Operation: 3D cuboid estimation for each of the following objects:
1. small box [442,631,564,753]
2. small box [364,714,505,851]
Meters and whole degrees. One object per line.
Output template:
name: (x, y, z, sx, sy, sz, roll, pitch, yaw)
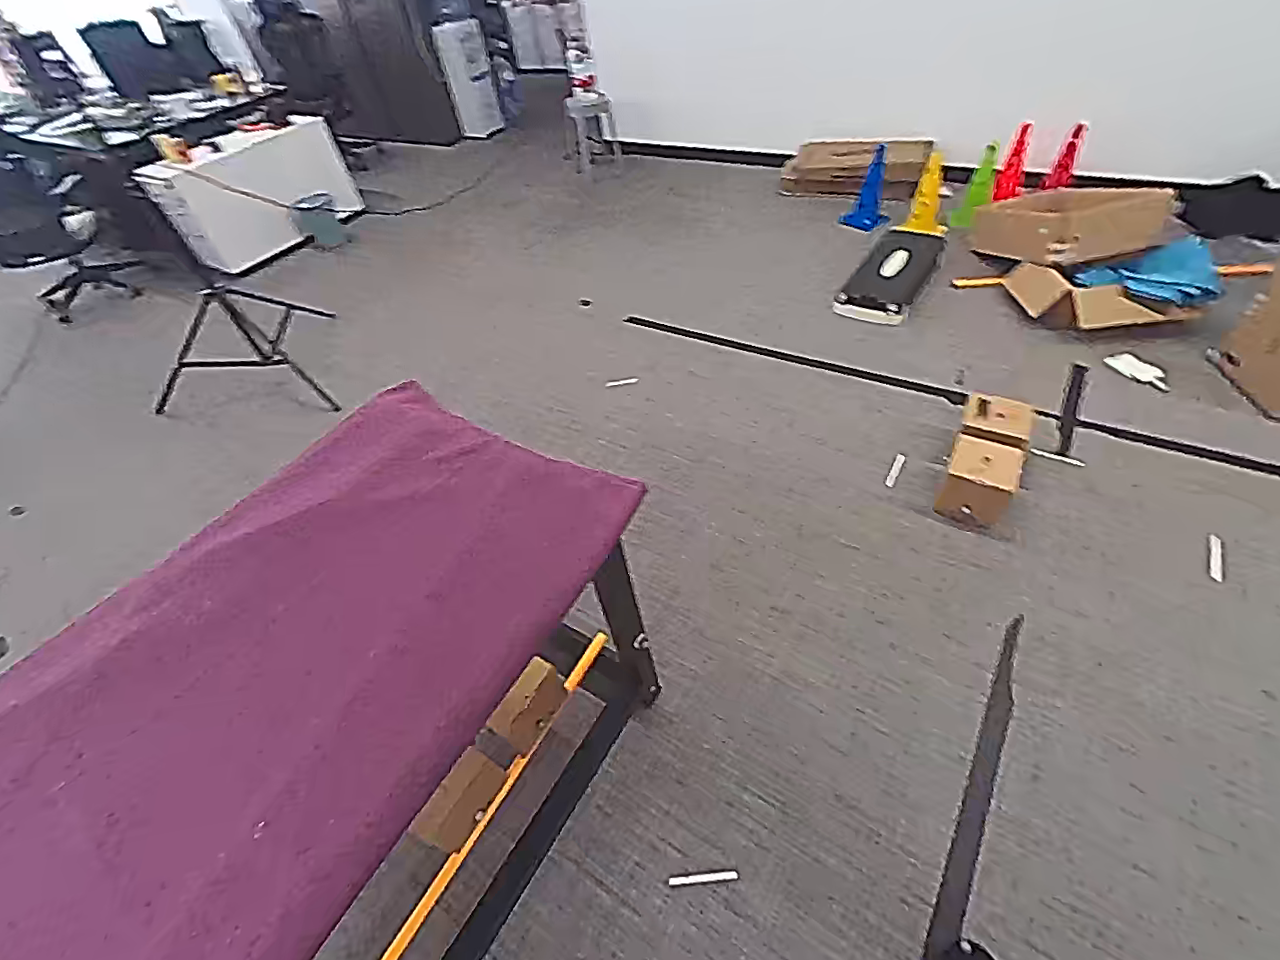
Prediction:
small box: (-0.294, 0.472, 1.196, 0.179, 0.176, 0.168, 22, 56, 24)
small box: (-0.404, 0.612, 1.089, 0.179, 0.176, 0.168, 22, 56, 23)
